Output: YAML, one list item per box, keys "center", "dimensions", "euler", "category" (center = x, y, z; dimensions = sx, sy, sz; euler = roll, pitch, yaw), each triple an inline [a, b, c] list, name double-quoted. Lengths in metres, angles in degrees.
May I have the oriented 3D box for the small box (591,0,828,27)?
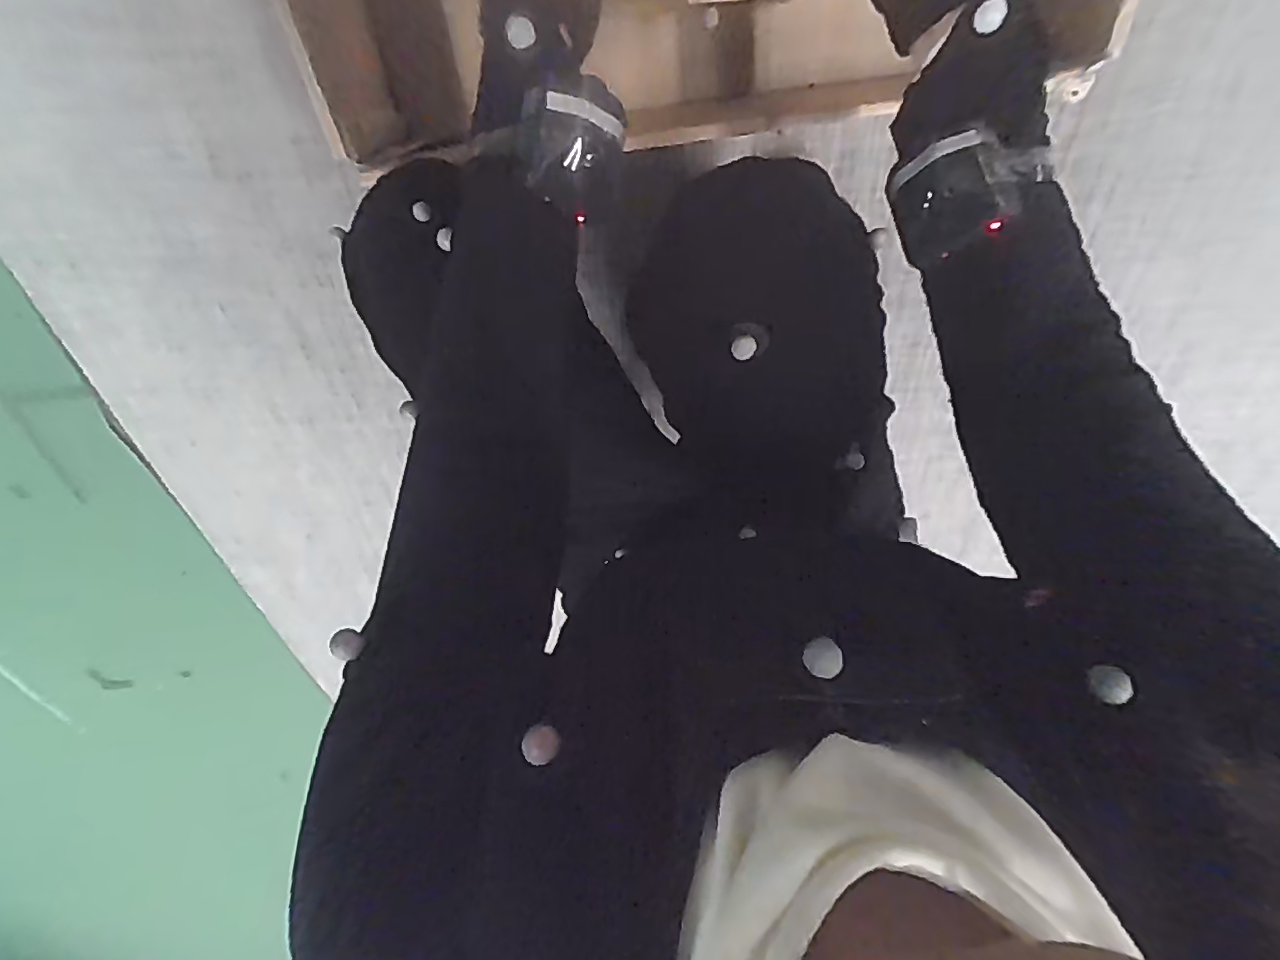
- center: [0.045, -0.435, 0.375]
  dimensions: [0.168, 0.176, 0.179]
  euler: [-3, 128, 4]
  category: "small box"

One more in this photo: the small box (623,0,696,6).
- center: [0.044, -0.339, 0.243]
  dimensions: [0.168, 0.176, 0.179]
  euler: [-4, 125, 3]
  category: "small box"
